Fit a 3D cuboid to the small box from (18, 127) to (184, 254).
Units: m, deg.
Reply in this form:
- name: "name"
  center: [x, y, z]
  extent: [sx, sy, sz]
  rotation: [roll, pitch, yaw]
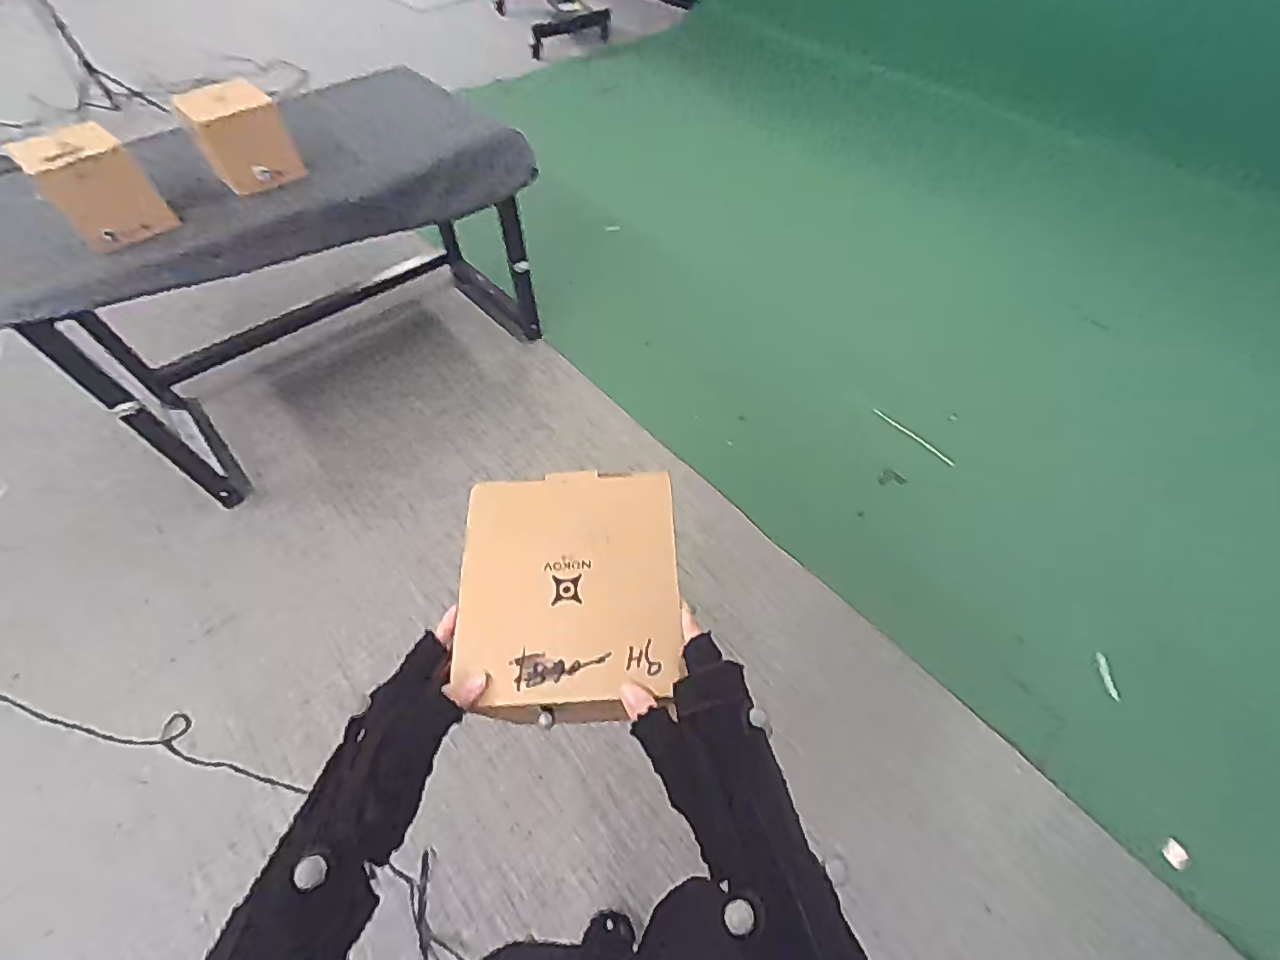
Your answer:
- name: "small box"
  center: [-1.128, -0.609, 1.147]
  extent: [0.179, 0.176, 0.168]
  rotation: [36, 62, 24]

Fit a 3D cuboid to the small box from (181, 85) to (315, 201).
- name: "small box"
  center: [-0.921, -0.796, 1.282]
  extent: [0.168, 0.176, 0.179]
  rotation: [-39, 65, -22]

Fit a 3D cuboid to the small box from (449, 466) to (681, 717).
- name: "small box"
  center: [-0.052, 0.107, 0.487]
  extent: [0.168, 0.176, 0.179]
  rotation: [-5, 62, 2]
